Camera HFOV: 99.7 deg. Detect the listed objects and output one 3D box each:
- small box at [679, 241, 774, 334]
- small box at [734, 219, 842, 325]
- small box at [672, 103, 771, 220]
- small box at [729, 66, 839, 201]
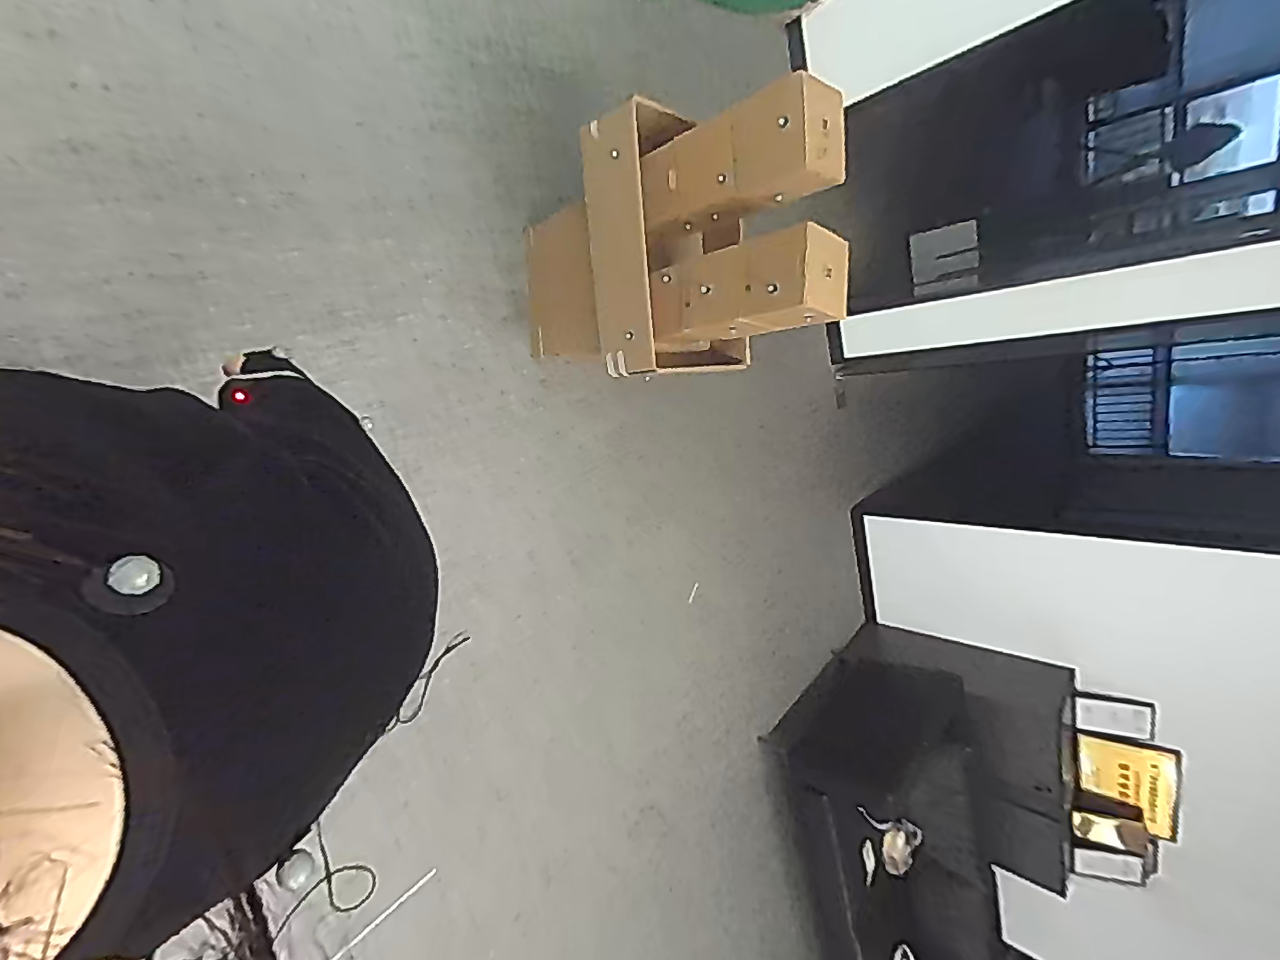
[{"bbox_3d":[0.207,-0.451,1.299,0.179,0.176,0.168,-5,97,-43],"label":"small box"},{"bbox_3d":[0.320,-0.442,1.181,0.179,0.176,0.168,-4,96,-45],"label":"small box"},{"bbox_3d":[0.188,-0.730,1.262,0.168,0.176,0.179,-15,106,-42],"label":"small box"},{"bbox_3d":[0.301,-0.716,1.142,0.168,0.176,0.179,-16,106,-42],"label":"small box"}]
